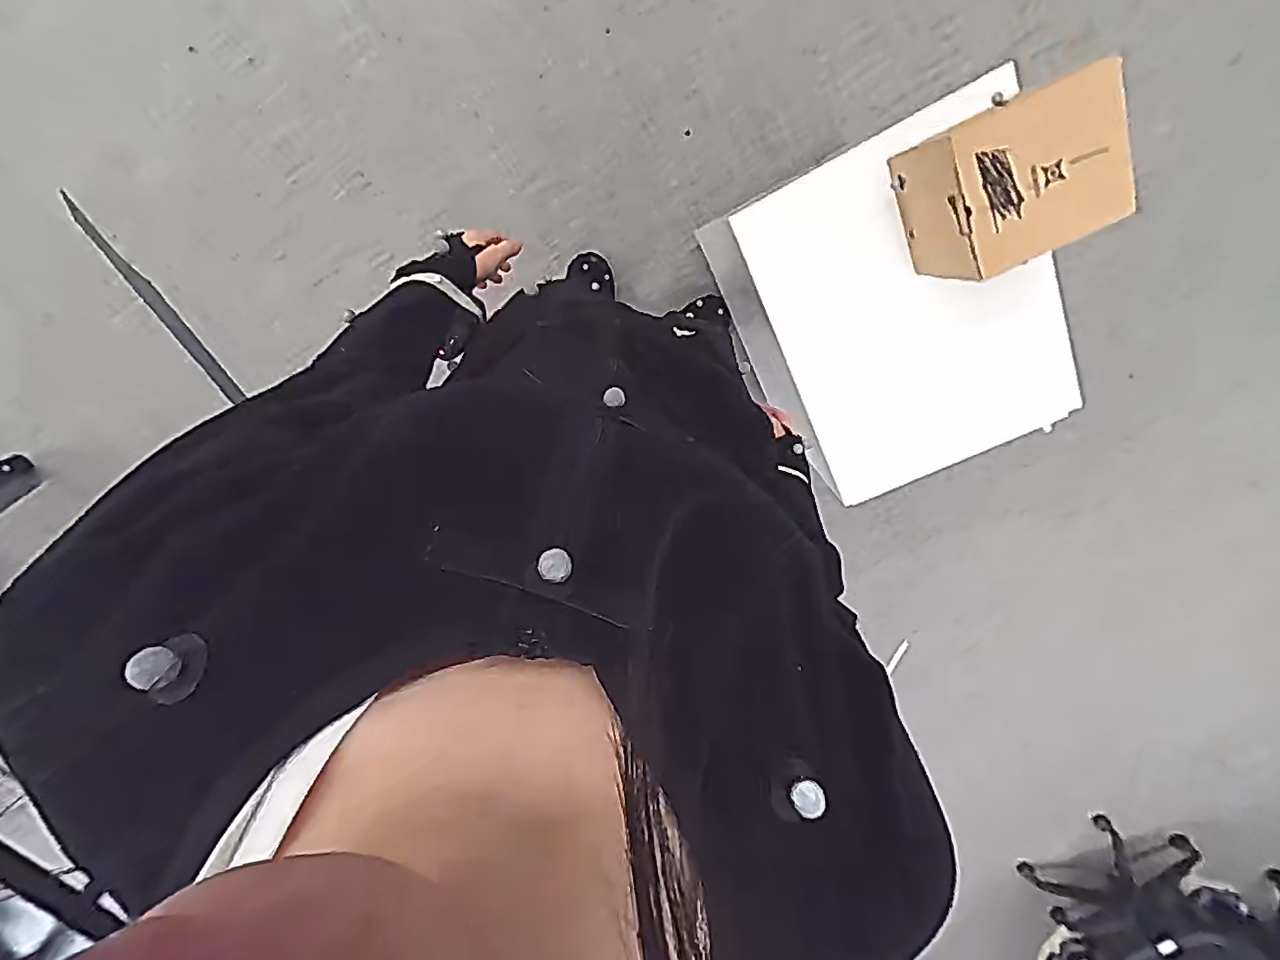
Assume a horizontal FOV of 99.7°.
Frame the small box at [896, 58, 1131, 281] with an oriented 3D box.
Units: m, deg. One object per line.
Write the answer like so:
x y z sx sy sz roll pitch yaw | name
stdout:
0.443 -0.364 0.669 0.179 0.176 0.168 -24 112 10 | small box
